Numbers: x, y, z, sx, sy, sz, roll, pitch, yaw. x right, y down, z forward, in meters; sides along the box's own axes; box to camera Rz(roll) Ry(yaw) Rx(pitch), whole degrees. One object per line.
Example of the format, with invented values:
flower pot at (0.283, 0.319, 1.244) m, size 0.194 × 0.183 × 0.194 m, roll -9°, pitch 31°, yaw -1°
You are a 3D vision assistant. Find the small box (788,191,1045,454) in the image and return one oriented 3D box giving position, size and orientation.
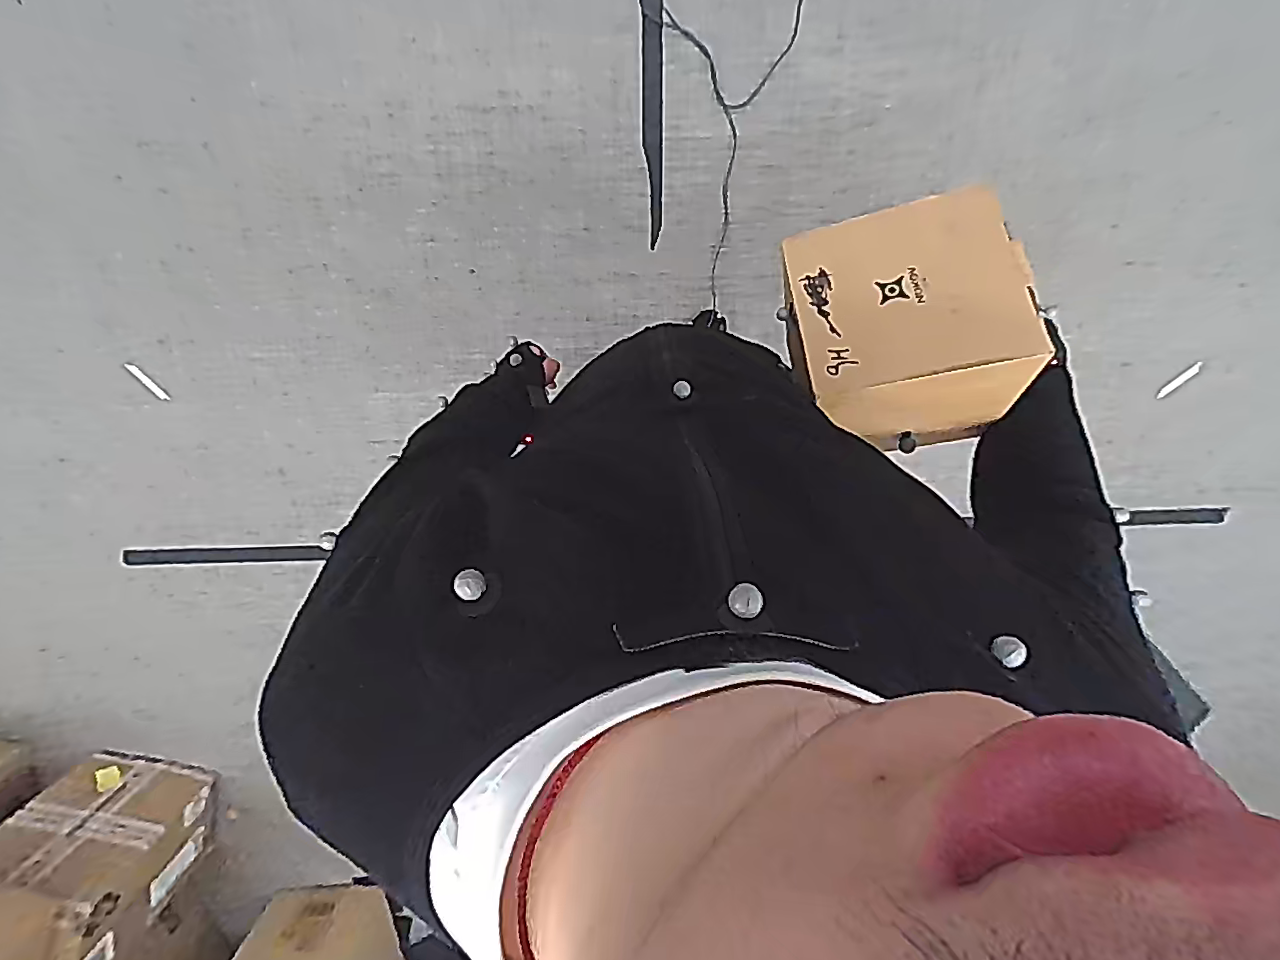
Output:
small box at (0.246, -0.139, 0.535) m, size 0.179 × 0.176 × 0.168 m, roll -9°, pitch 69°, yaw 13°
